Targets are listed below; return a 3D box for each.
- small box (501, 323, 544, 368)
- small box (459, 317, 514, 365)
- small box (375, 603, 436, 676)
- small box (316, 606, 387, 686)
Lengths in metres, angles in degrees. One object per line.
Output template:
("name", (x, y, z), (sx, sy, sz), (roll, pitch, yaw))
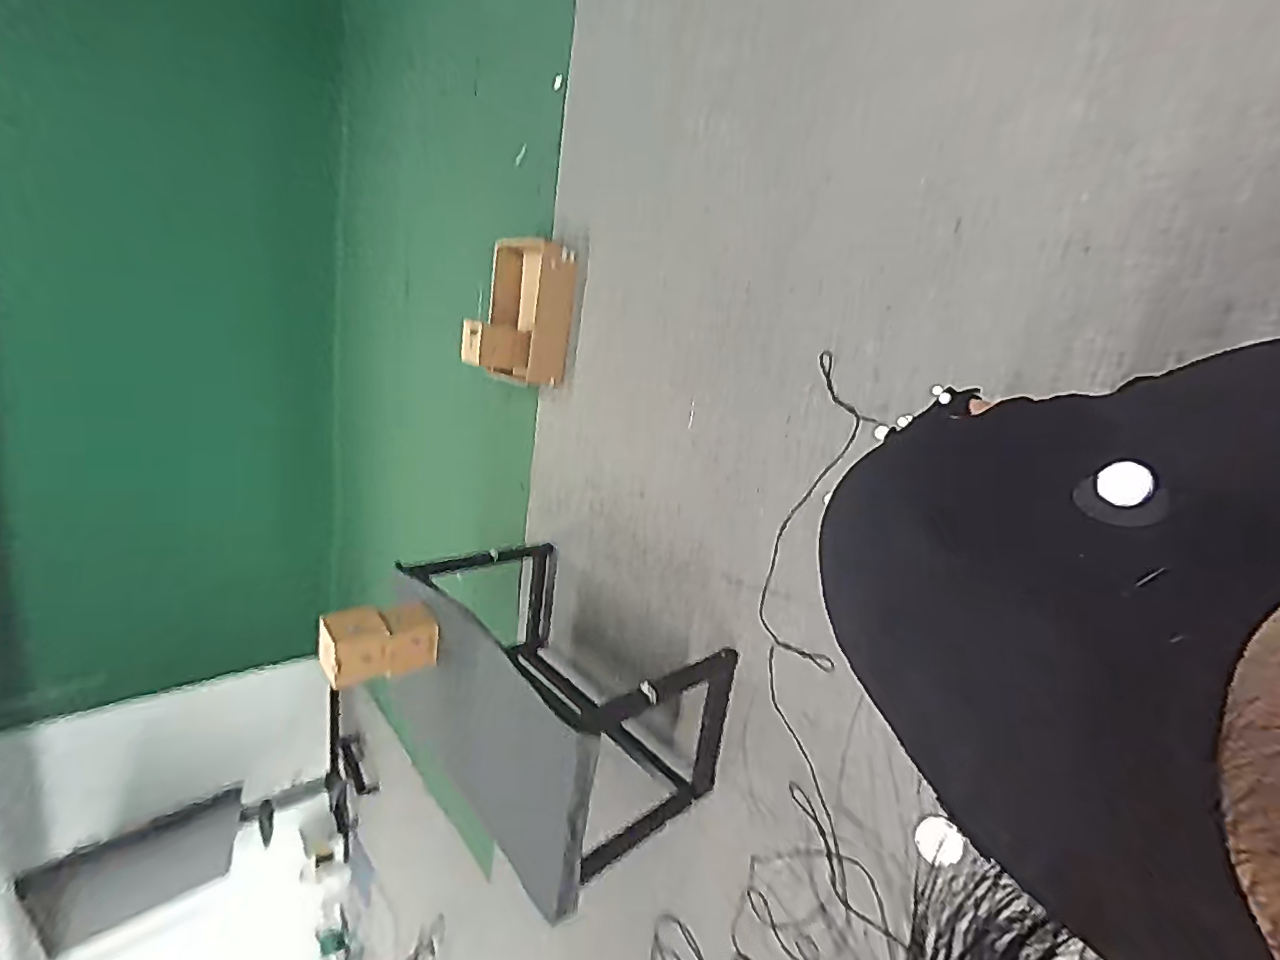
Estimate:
("small box", (-0.562, -0.621, 2.506), (0.168, 0.176, 0.179), (21, 107, 41))
("small box", (-0.675, -0.612, 2.387), (0.168, 0.176, 0.179), (23, 109, 42))
("small box", (-0.835, 0.552, 1.907), (0.179, 0.176, 0.168), (25, 111, 43))
("small box", (-0.957, 0.542, 1.797), (0.179, 0.176, 0.168), (28, 113, 40))
